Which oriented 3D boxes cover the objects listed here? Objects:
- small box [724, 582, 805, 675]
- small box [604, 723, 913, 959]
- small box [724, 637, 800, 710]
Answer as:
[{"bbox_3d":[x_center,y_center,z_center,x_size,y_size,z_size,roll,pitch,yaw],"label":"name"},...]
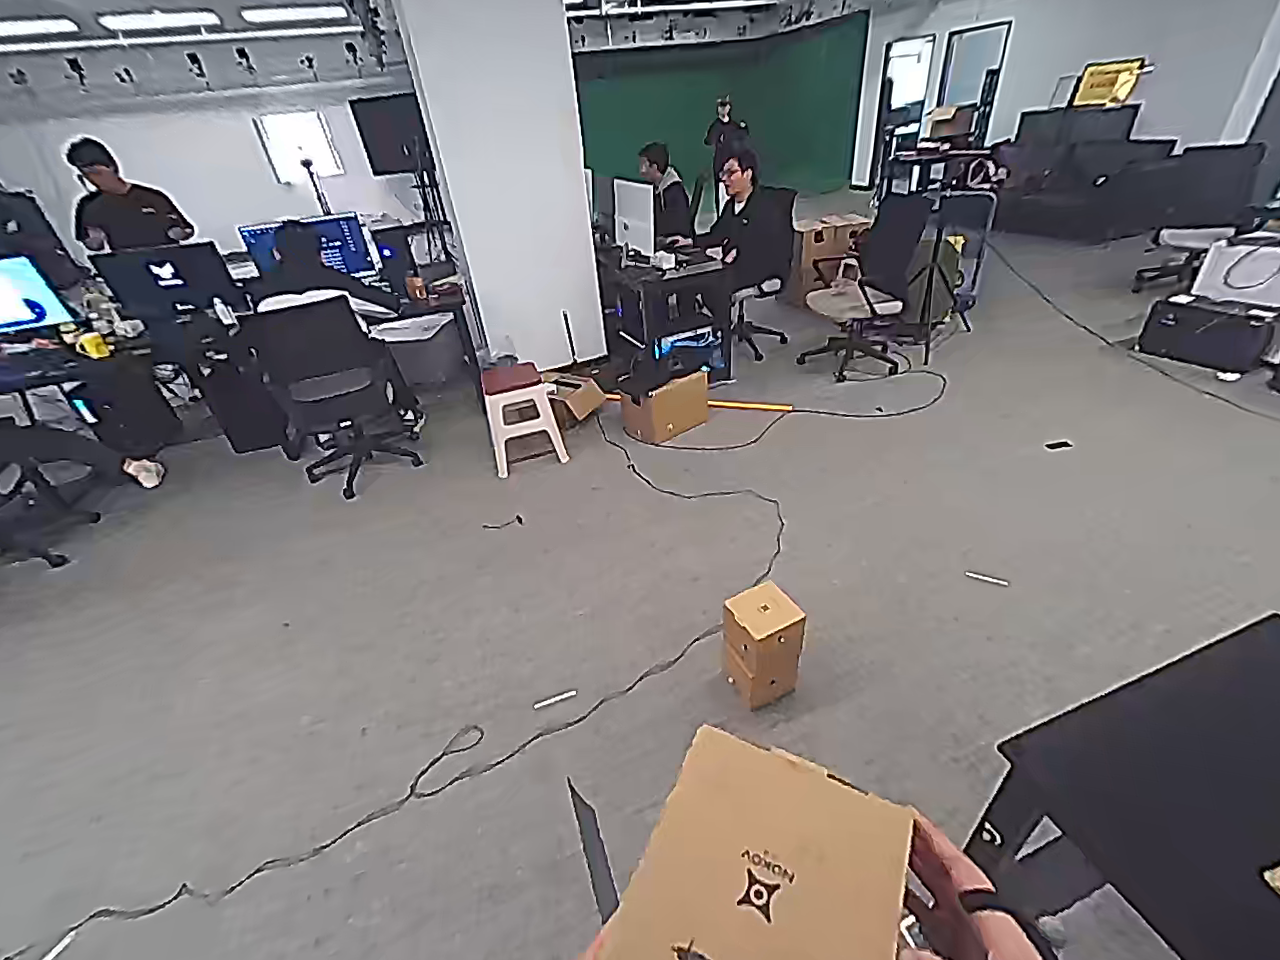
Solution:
[{"bbox_3d":[0.366,0.442,1.603,0.179,0.176,0.168,-19,37,-20],"label":"small box"},{"bbox_3d":[0.095,0.333,0.411,0.168,0.176,0.179,11,39,28],"label":"small box"},{"bbox_3d":[0.375,0.578,1.691,0.179,0.176,0.168,-18,36,-16],"label":"small box"}]
